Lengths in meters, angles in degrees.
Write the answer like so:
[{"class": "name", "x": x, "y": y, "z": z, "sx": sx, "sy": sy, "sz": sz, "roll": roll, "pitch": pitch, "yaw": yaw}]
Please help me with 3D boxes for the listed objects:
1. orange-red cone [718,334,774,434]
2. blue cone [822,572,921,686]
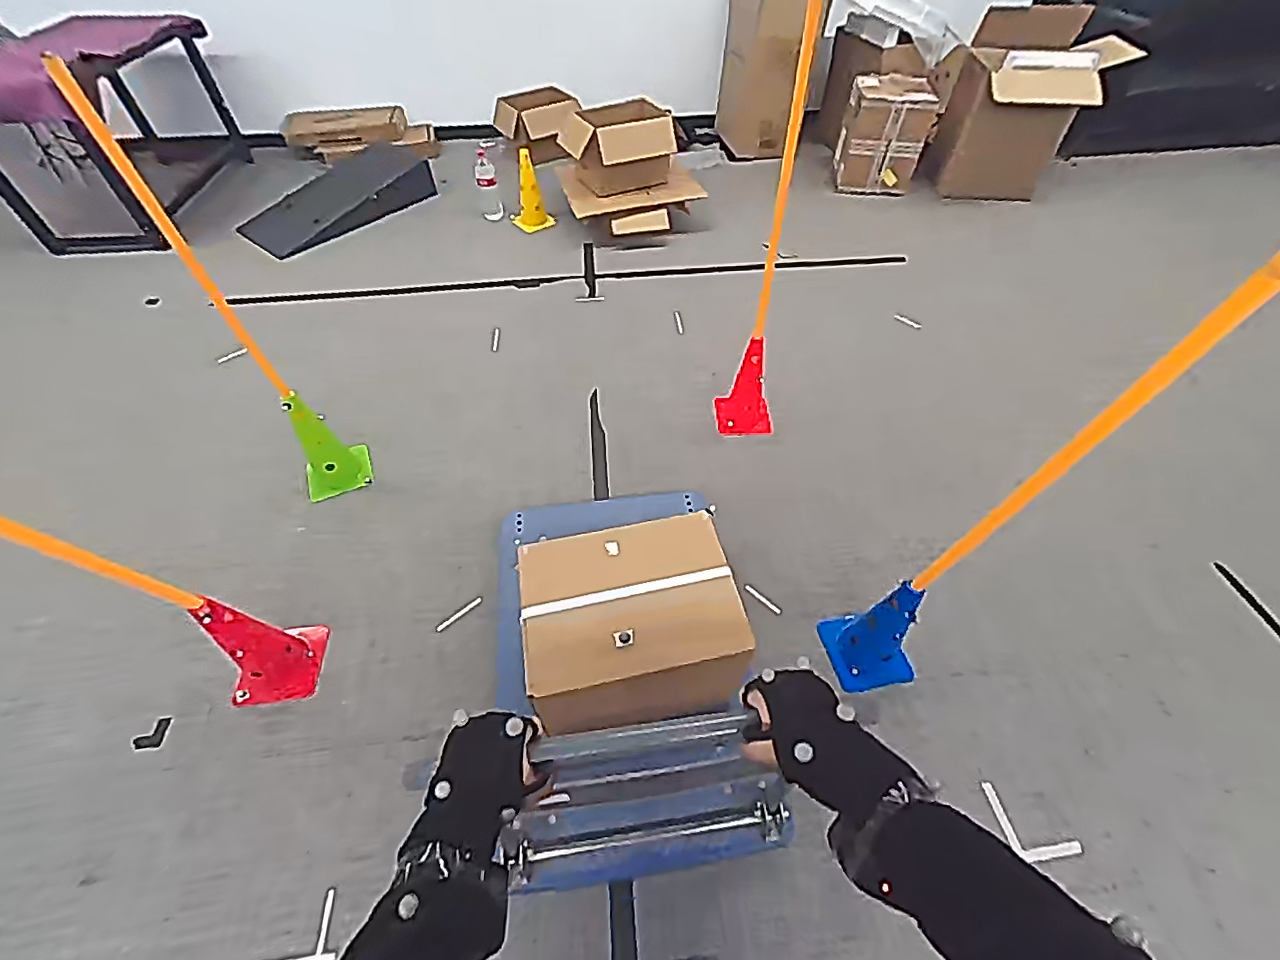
[{"class": "orange-red cone", "x": 0.393, "y": -0.350, "z": 1.875, "sx": 0.199, "sy": 0.360, "sz": 0.198, "roll": 1, "pitch": 52, "yaw": 0}, {"class": "blue cone", "x": 0.606, "y": 0.346, "z": 1.327, "sx": 0.193, "sy": 0.380, "sz": 0.192, "roll": -7, "pitch": 50, "yaw": -6}]
